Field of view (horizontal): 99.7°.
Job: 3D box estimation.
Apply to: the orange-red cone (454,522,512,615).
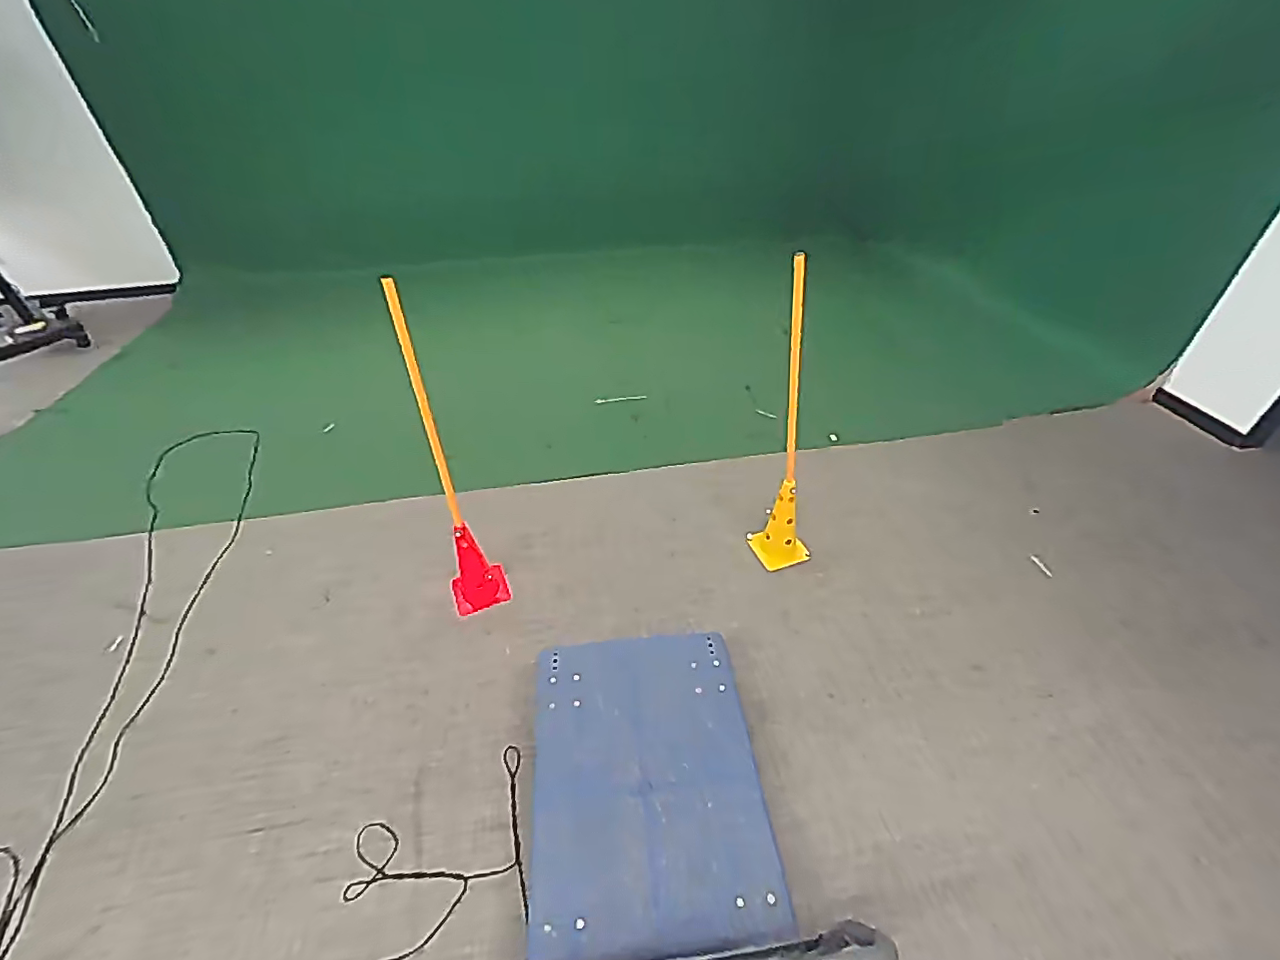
[{"bbox_3d":[-0.613,0.290,1.965,0.199,0.360,0.198,-18,42,-16],"label":"orange-red cone"}]
